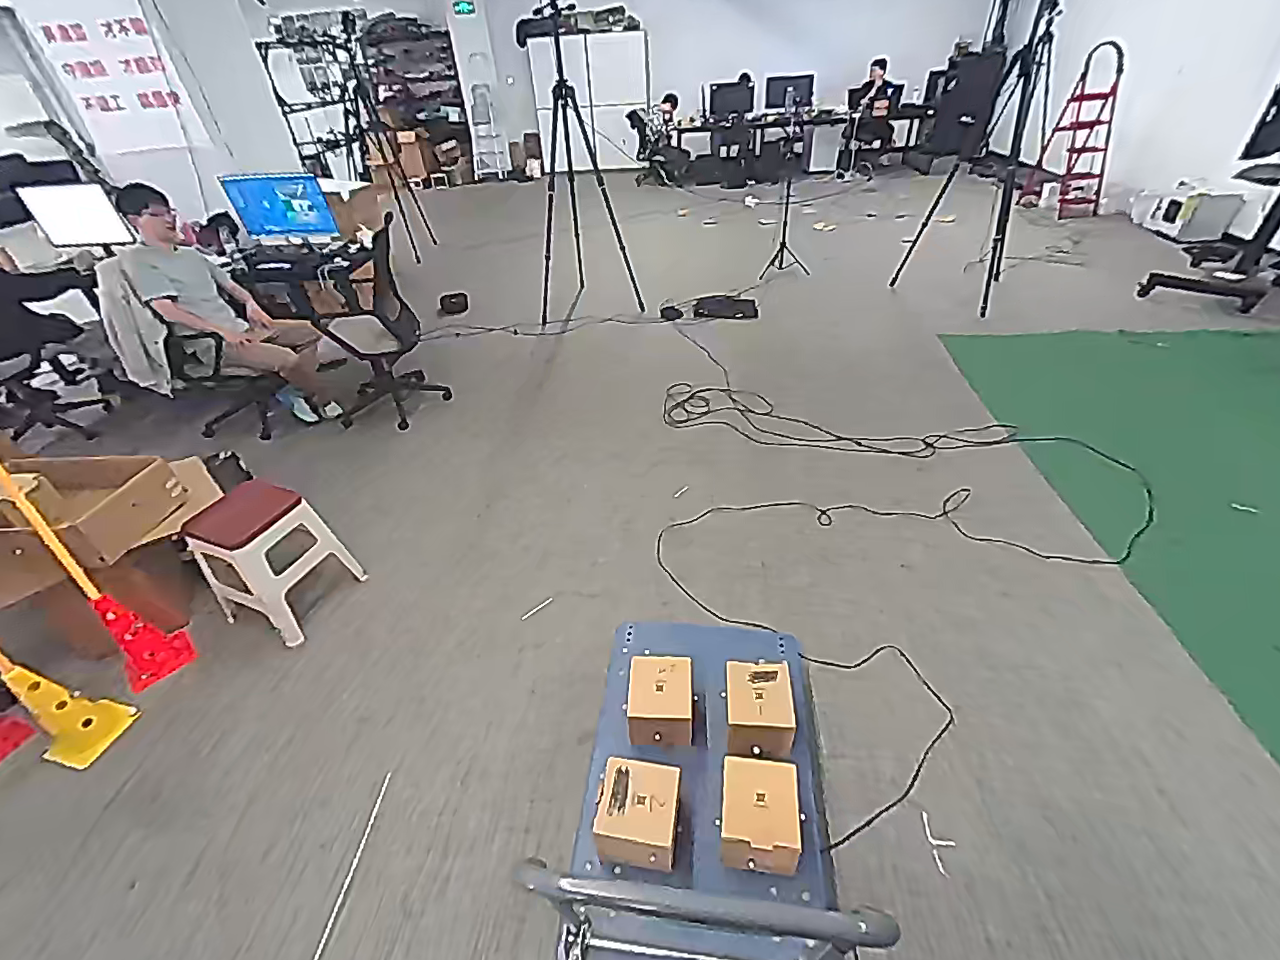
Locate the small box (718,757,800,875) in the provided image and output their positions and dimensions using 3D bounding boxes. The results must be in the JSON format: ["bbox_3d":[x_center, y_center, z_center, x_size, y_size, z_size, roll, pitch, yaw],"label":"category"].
[{"bbox_3d":[0.268,0.771,1.243,0.168,0.176,0.179,3,41,9],"label":"small box"}]

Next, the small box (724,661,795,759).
[{"bbox_3d":[0.309,0.609,1.435,0.168,0.176,0.179,1,41,7],"label":"small box"}]

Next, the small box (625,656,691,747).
[{"bbox_3d":[0.055,0.602,1.464,0.168,0.176,0.179,1,40,5],"label":"small box"}]
